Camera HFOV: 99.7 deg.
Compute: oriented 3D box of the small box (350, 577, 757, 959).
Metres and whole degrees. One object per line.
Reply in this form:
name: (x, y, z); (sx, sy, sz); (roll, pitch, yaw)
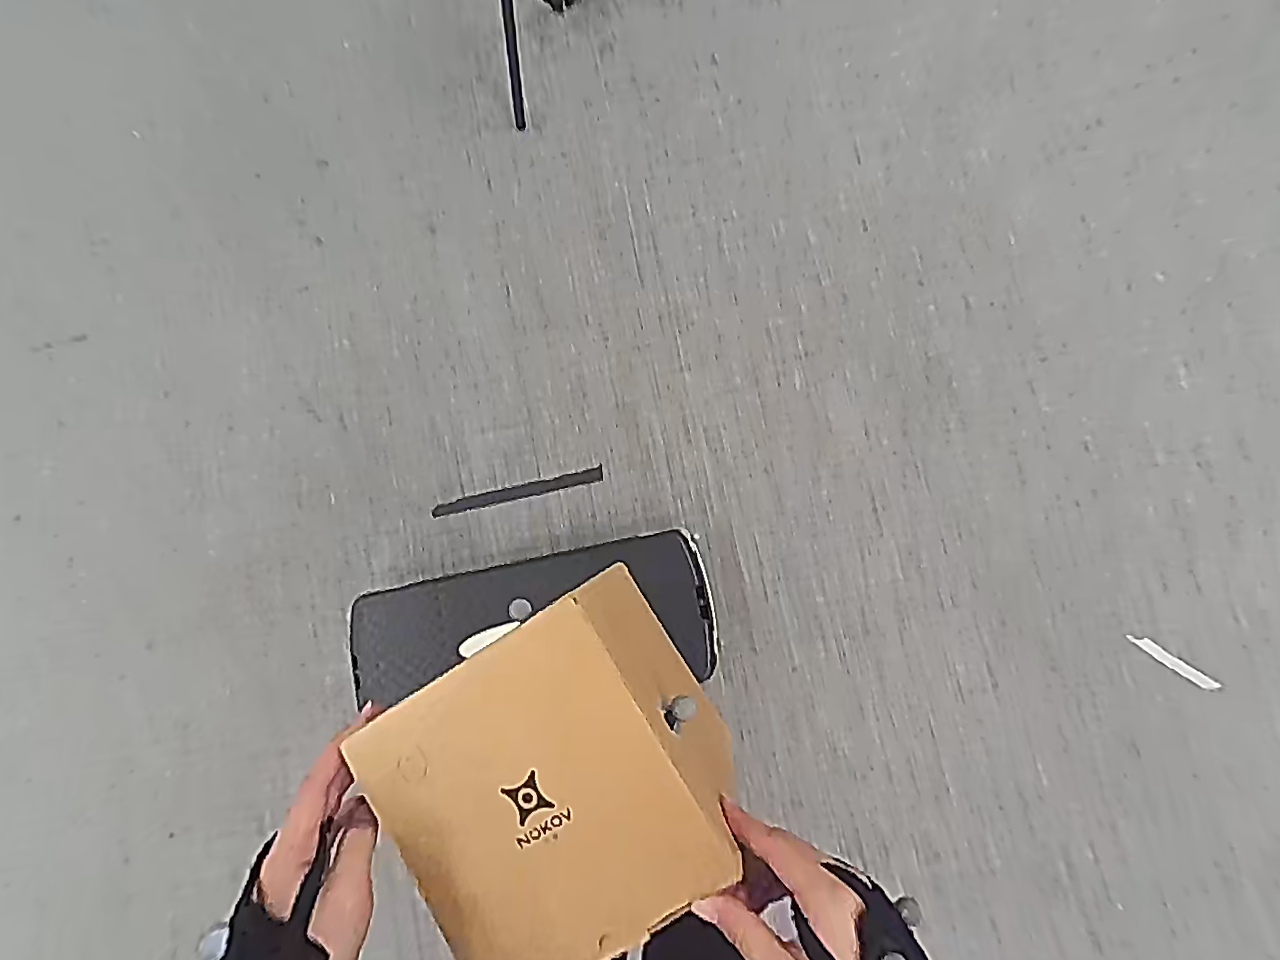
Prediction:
small box: (-0.044, 0.180, 0.371); (0.168, 0.176, 0.179); (-33, 85, 4)
